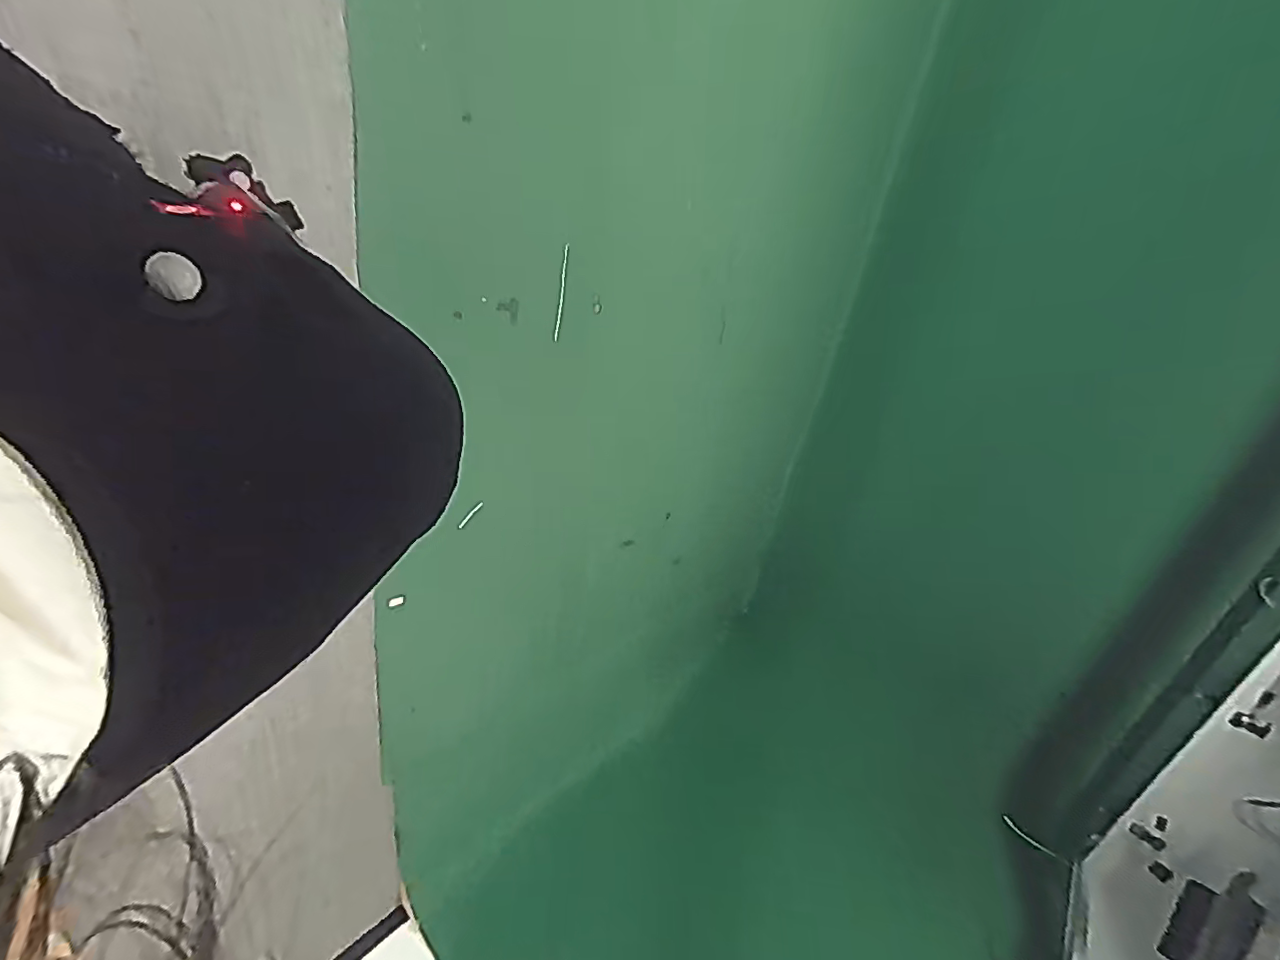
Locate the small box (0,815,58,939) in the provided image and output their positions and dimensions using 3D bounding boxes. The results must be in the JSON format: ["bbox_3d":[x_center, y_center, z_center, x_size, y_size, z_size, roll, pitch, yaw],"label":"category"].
[{"bbox_3d":[-1.467,0.913,1.214,0.179,0.176,0.168,-21,131,-47],"label":"small box"}]
